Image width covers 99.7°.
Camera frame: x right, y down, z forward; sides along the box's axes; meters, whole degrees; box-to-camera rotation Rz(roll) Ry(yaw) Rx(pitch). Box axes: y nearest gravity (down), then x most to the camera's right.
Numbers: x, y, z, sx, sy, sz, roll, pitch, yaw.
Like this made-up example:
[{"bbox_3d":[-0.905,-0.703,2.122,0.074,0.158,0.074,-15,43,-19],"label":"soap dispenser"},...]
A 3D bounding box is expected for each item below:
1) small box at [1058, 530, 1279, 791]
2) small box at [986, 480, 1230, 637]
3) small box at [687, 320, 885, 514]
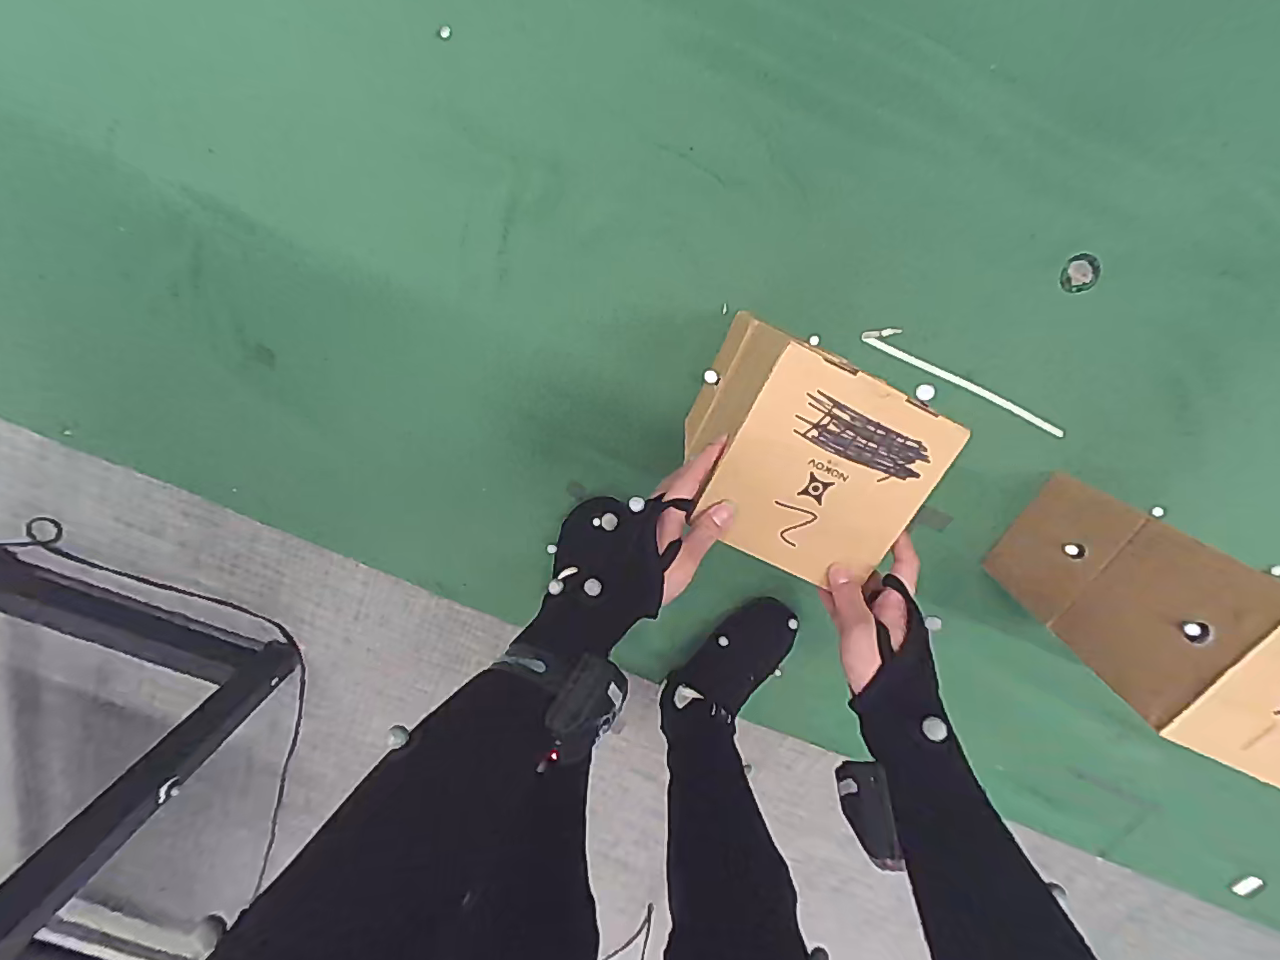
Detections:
[{"bbox_3d":[0.615,0.180,0.581,0.168,0.176,0.179,25,110,-5],"label":"small box"},{"bbox_3d":[0.623,0.124,0.735,0.168,0.176,0.179,25,110,-6],"label":"small box"},{"bbox_3d":[0.171,-0.089,0.692,0.168,0.176,0.179,24,109,-4],"label":"small box"}]
